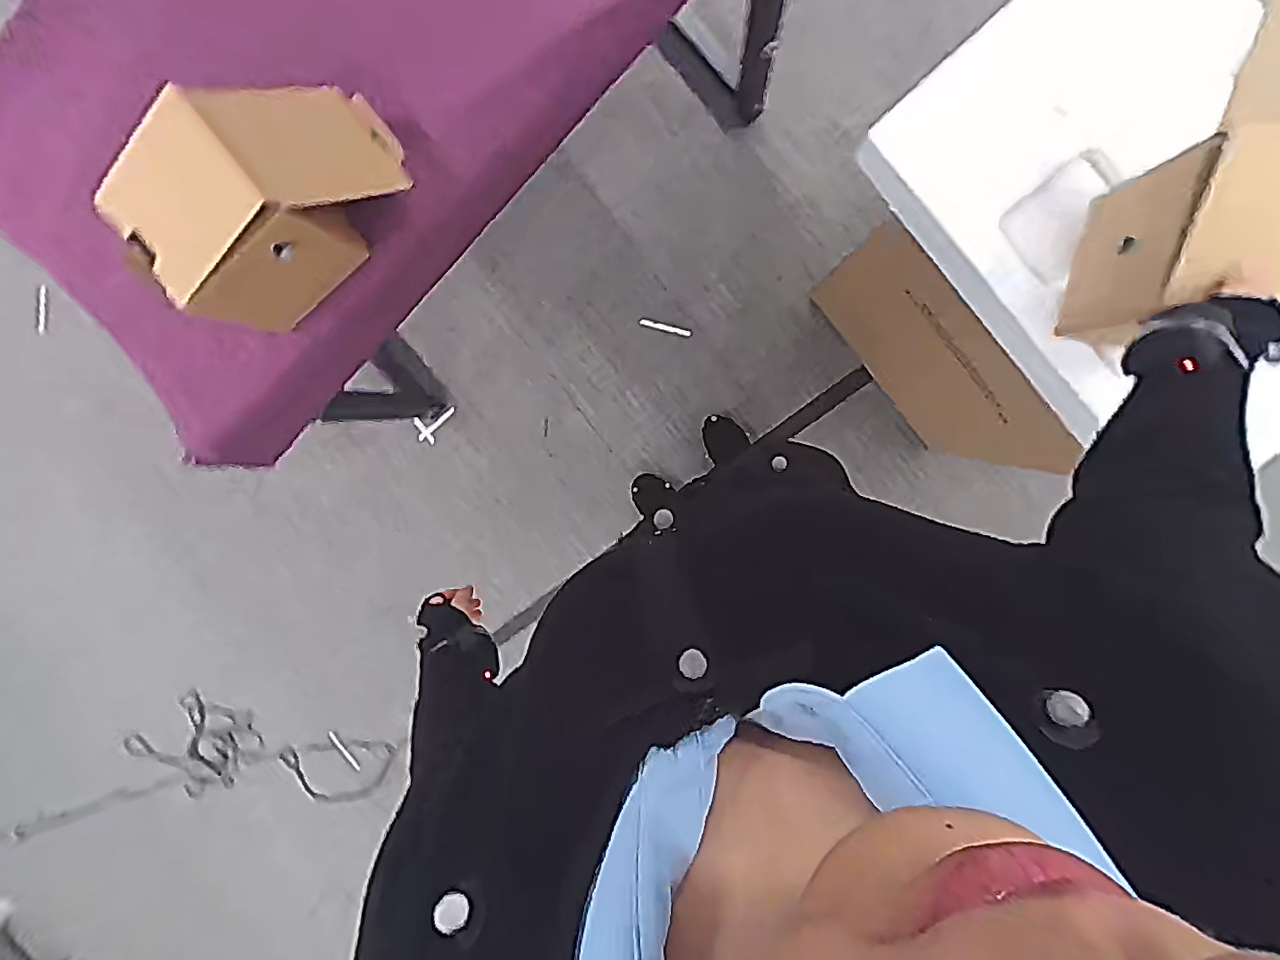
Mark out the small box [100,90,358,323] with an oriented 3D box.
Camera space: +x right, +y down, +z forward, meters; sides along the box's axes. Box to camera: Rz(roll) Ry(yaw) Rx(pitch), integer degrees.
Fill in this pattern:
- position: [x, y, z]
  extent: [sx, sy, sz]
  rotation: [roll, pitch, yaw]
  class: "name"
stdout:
- position: [-0.499, -0.329, 0.692]
  extent: [0.179, 0.176, 0.168]
  rotation: [-37, 90, 9]
  class: "small box"
